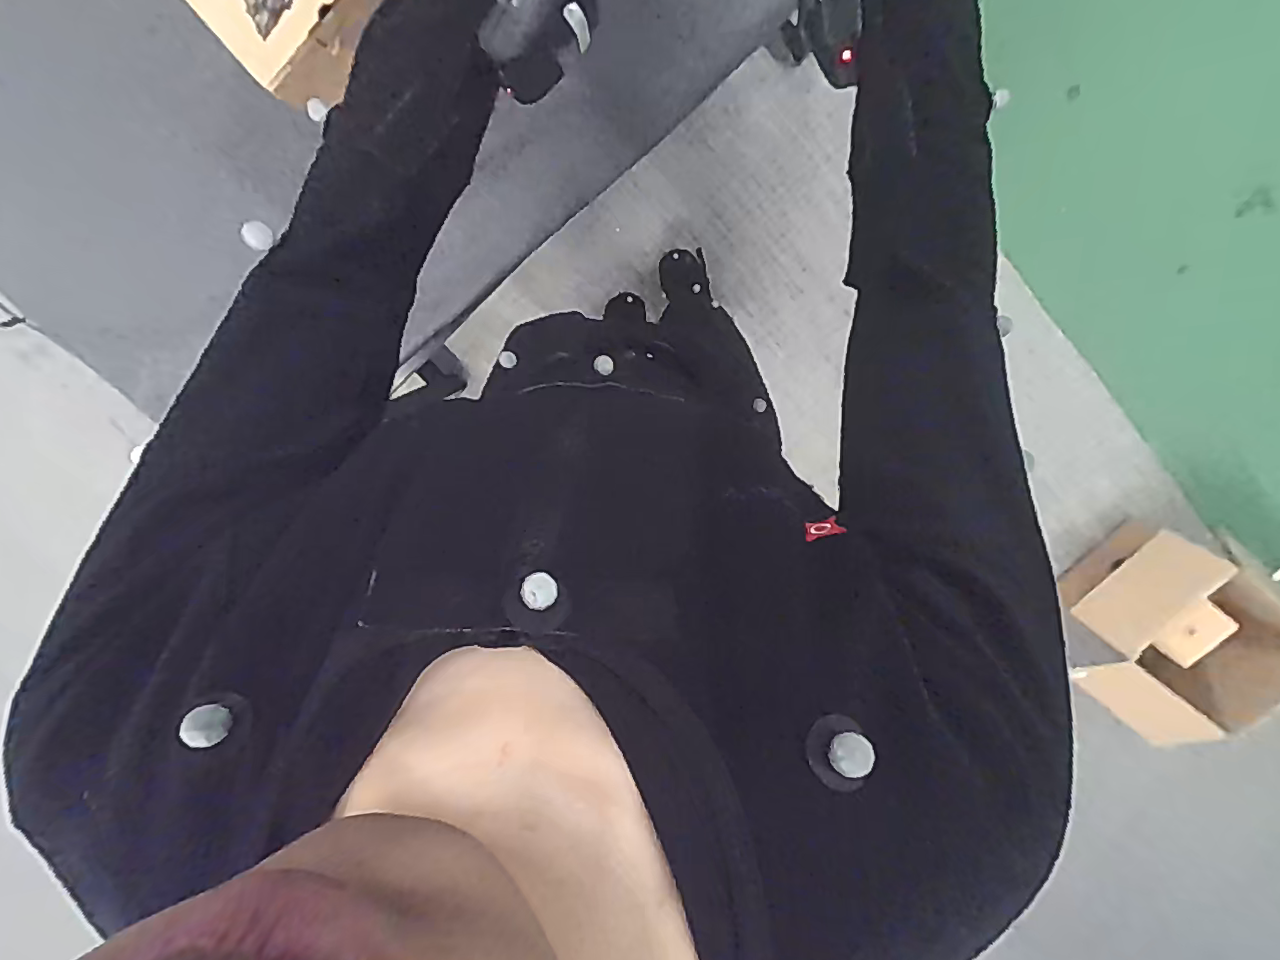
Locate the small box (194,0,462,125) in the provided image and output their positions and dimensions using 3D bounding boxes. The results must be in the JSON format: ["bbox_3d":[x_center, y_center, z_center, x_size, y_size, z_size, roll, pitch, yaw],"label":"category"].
[{"bbox_3d":[-0.300,-0.469,0.501,0.168,0.176,0.179,-37,103,14],"label":"small box"}]
